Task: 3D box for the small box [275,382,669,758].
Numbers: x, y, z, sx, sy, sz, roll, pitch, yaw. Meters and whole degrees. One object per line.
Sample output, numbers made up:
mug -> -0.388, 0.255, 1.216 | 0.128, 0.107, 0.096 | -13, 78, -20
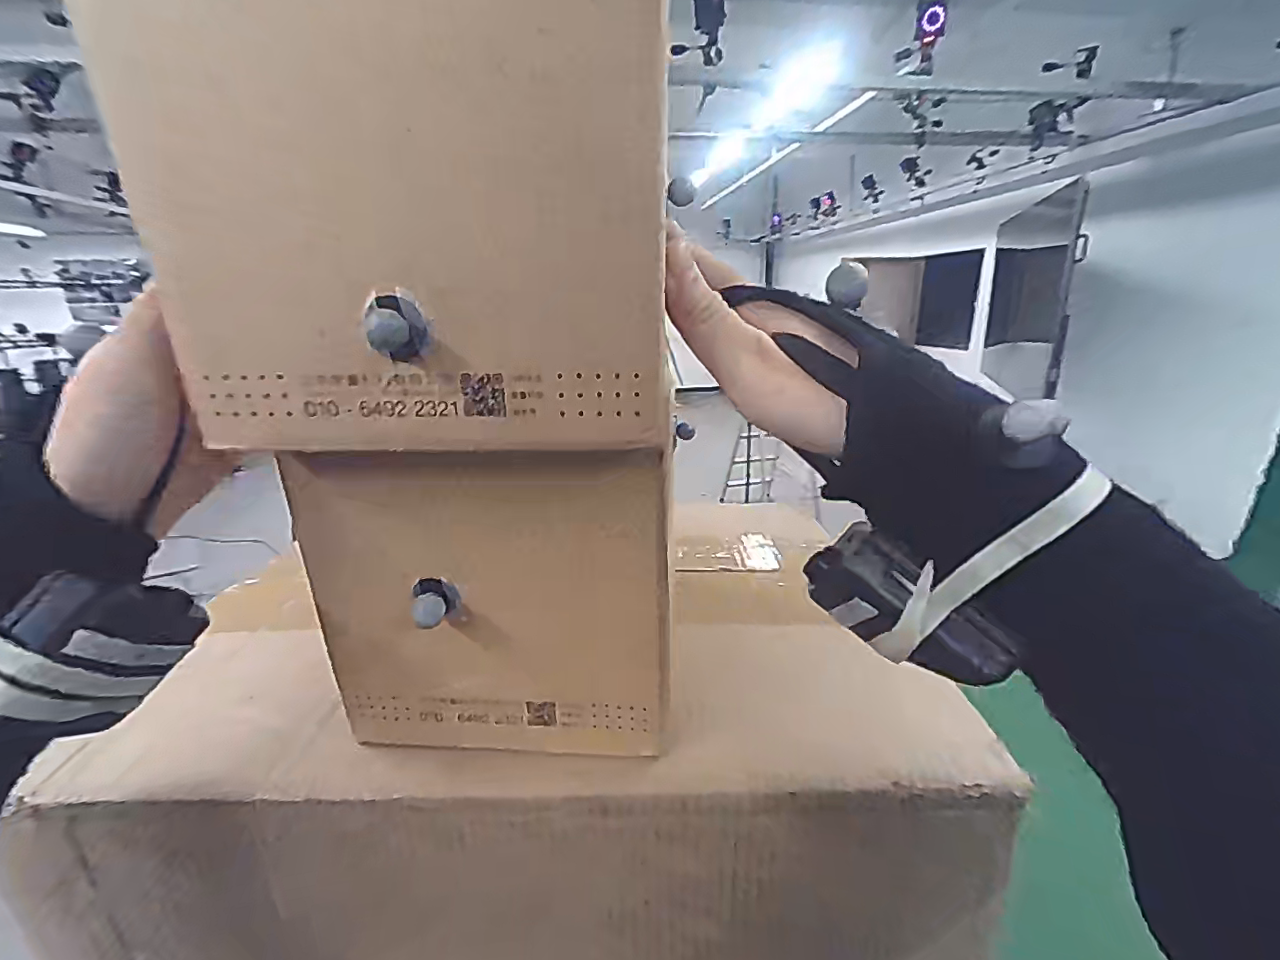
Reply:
small box -> -0.068, 0.040, 0.331 | 0.168, 0.176, 0.179 | 0, 20, 4
